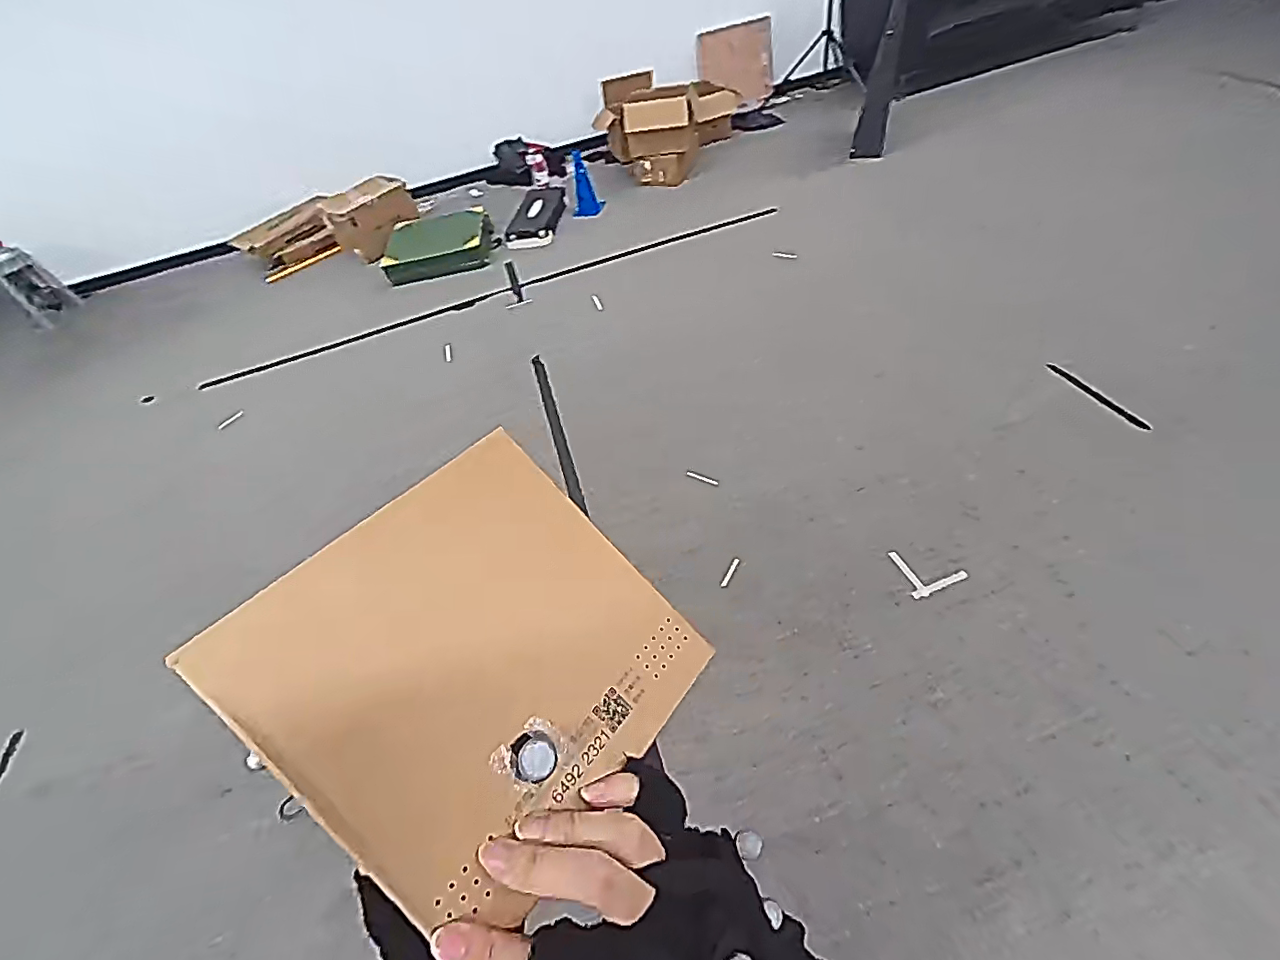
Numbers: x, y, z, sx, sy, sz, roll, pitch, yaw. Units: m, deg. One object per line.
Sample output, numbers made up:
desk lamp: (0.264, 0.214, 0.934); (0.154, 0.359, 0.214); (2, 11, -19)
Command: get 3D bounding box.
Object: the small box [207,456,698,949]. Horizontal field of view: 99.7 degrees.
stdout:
small box: (-0.099, 0.124, 0.327); (0.176, 0.179, 0.168); (46, 56, 1)
